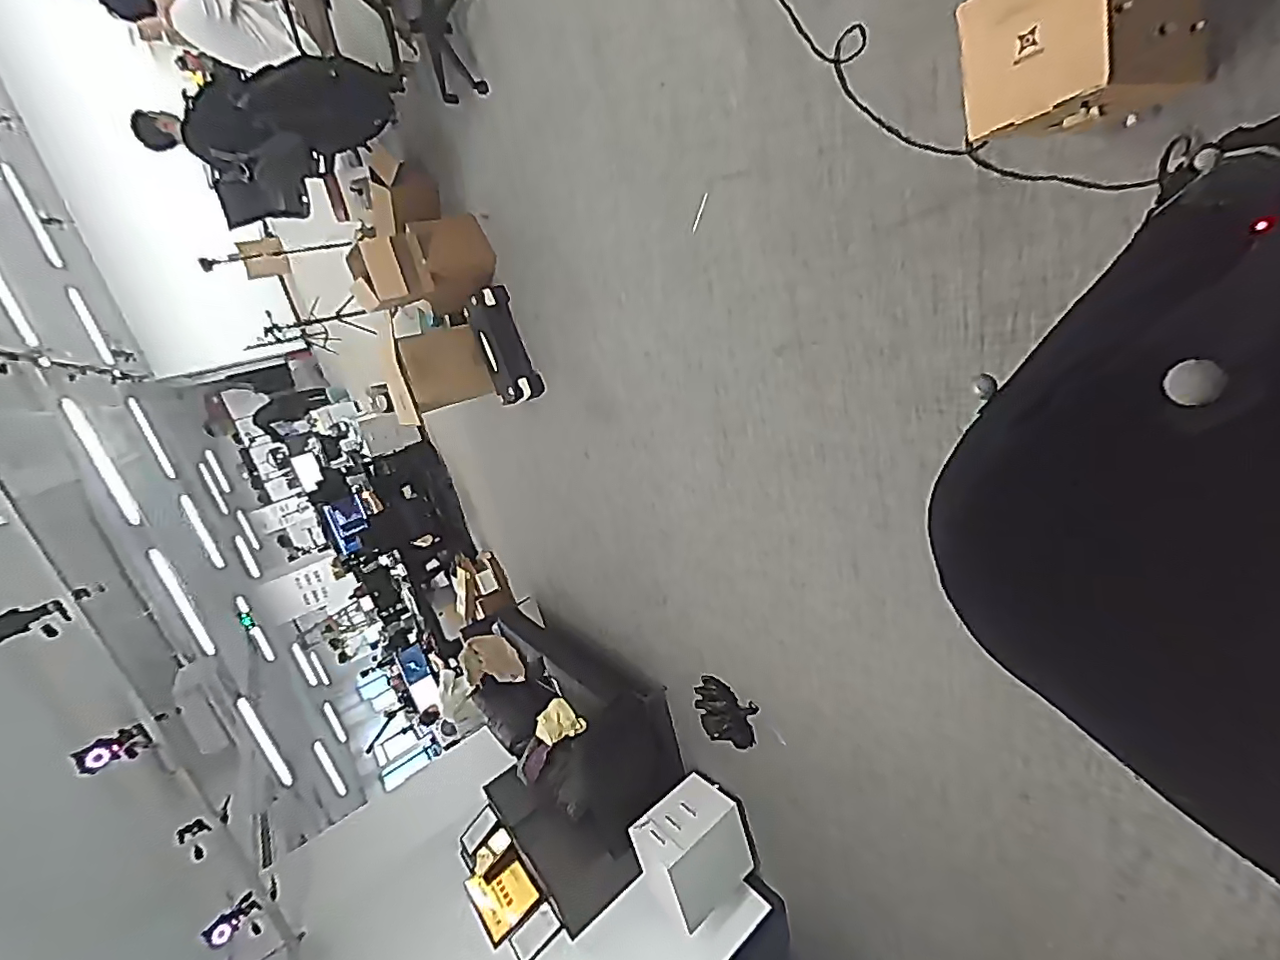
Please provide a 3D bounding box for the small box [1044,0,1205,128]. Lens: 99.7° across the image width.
[{"bbox_3d":[0.820,-0.730,0.915,0.168,0.176,0.179,1,114,56],"label":"small box"}]
